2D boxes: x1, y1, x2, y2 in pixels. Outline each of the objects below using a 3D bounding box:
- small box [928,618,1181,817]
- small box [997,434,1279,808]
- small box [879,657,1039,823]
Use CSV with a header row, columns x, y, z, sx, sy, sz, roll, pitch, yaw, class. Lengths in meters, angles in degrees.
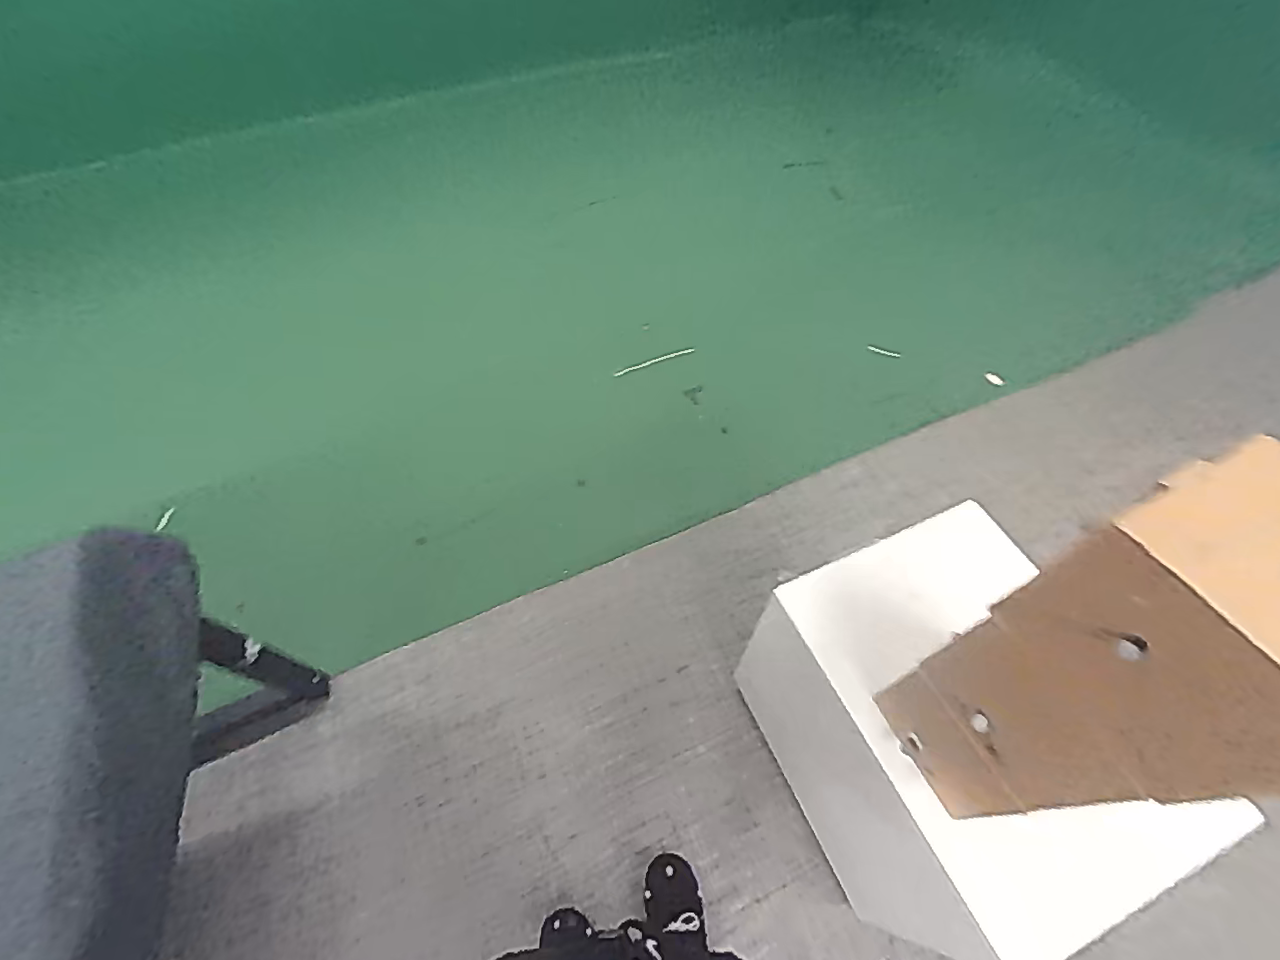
x,y,z,sx,sy,sz,roll,pitch,yaw,class
0.426,0.196,0.523,0.179,0.176,0.168,-23,58,-14,small box
0.412,0.104,0.388,0.168,0.176,0.179,-23,57,-12,small box
0.430,0.289,0.658,0.179,0.176,0.168,-23,58,-11,small box
